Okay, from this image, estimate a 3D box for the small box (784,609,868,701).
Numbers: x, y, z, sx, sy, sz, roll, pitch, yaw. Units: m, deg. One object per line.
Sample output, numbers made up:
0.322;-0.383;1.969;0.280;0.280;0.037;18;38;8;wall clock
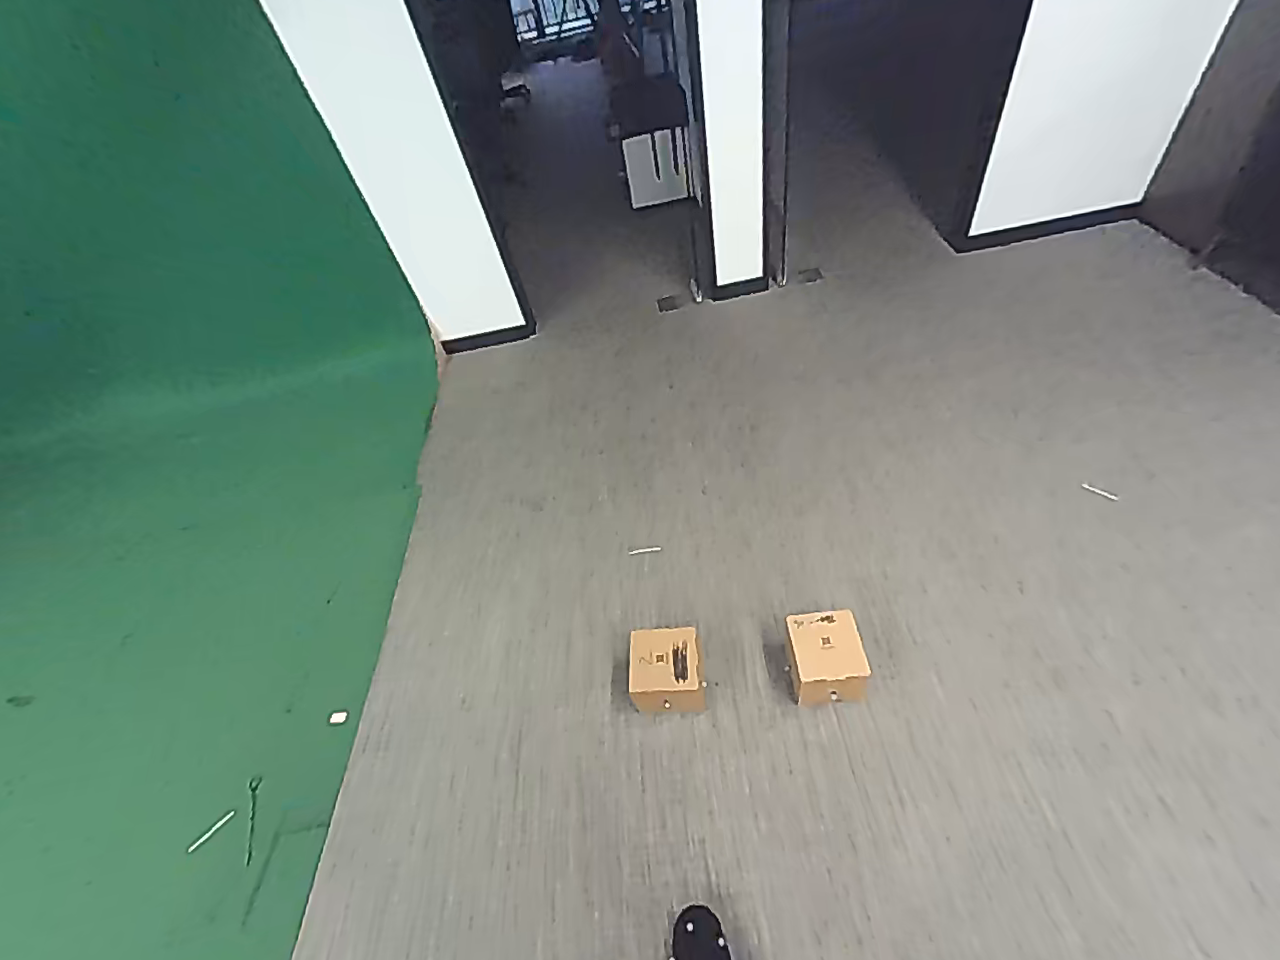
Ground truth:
0.470;0.457;1.392;0.168;0.176;0.179;-8;48;6;small box
